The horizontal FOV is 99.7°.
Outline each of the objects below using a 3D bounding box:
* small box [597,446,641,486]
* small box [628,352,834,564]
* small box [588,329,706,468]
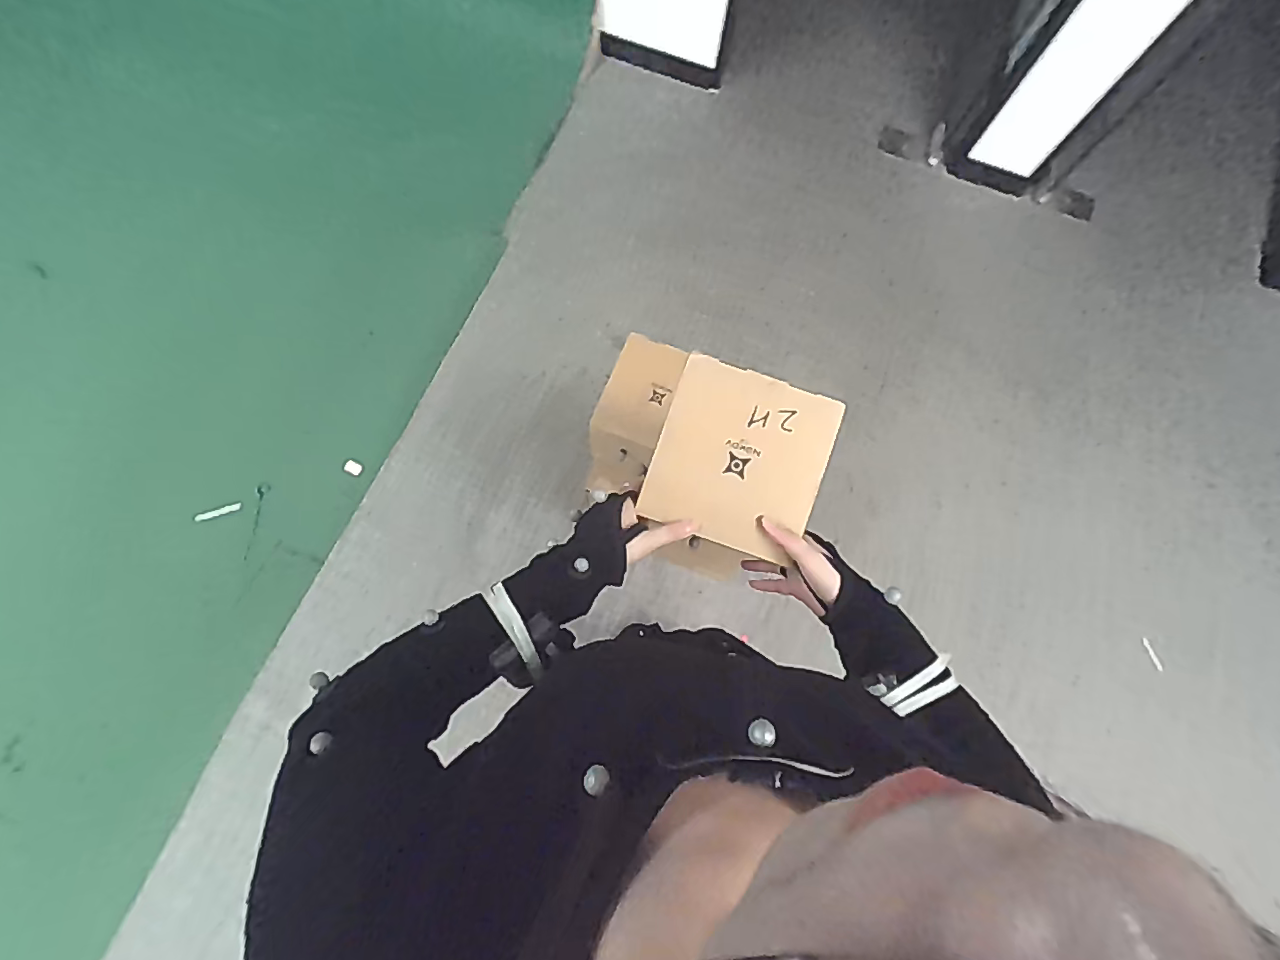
[{"bbox_3d":[0.016,-0.089,1.093,0.168,0.176,0.179,23,76,2],"label":"small box"},{"bbox_3d":[0.093,-0.020,0.625,0.168,0.176,0.179,20,88,1],"label":"small box"},{"bbox_3d":[0.021,-0.120,0.933,0.168,0.176,0.179,22,75,2],"label":"small box"}]
